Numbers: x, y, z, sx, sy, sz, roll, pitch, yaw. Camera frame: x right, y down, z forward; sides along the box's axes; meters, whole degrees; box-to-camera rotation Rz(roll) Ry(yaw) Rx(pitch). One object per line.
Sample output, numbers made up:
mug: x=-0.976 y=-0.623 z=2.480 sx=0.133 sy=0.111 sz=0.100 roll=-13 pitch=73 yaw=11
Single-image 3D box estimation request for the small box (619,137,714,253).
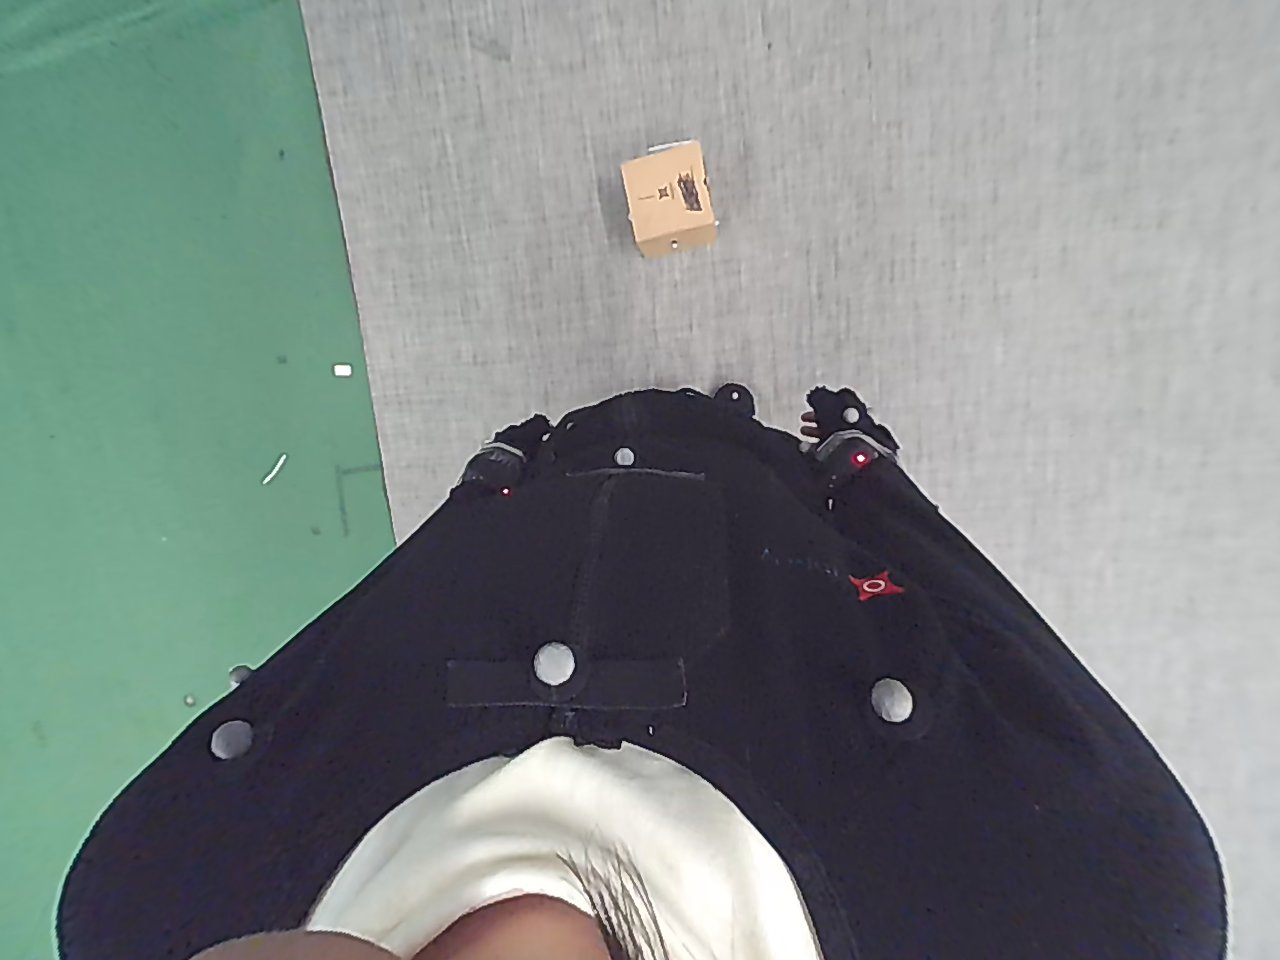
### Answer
small box: x=0.064 y=-0.638 z=1.233 sx=0.179 sy=0.176 sz=0.168 roll=-14 pitch=99 yaw=9
